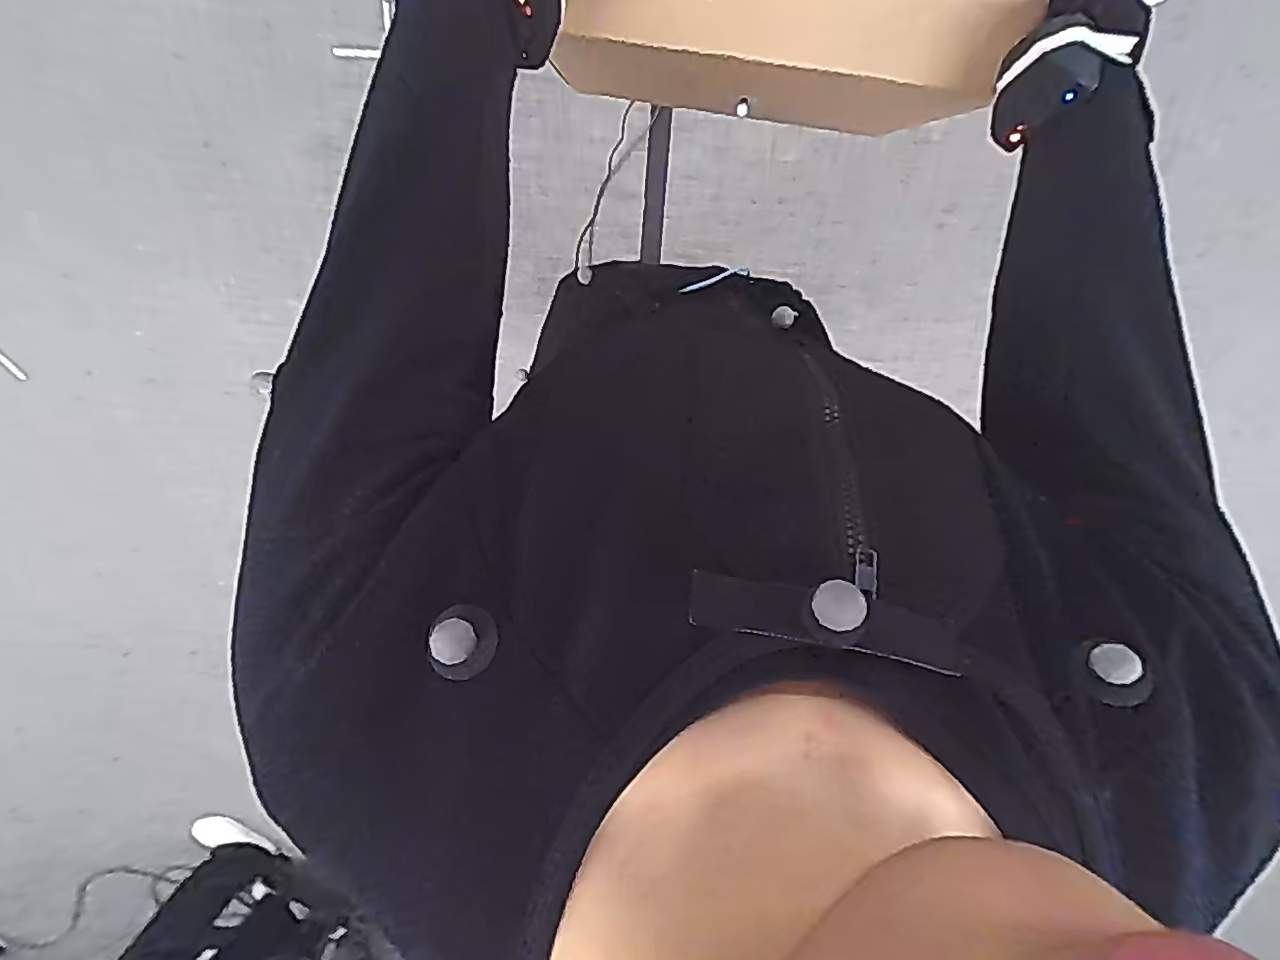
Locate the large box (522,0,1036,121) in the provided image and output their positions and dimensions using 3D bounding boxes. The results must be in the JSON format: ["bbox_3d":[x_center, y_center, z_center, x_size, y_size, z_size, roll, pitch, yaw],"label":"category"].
[{"bbox_3d":[0.126,-0.547,0.496,0.408,0.320,0.320,7,117,-2],"label":"large box"}]
